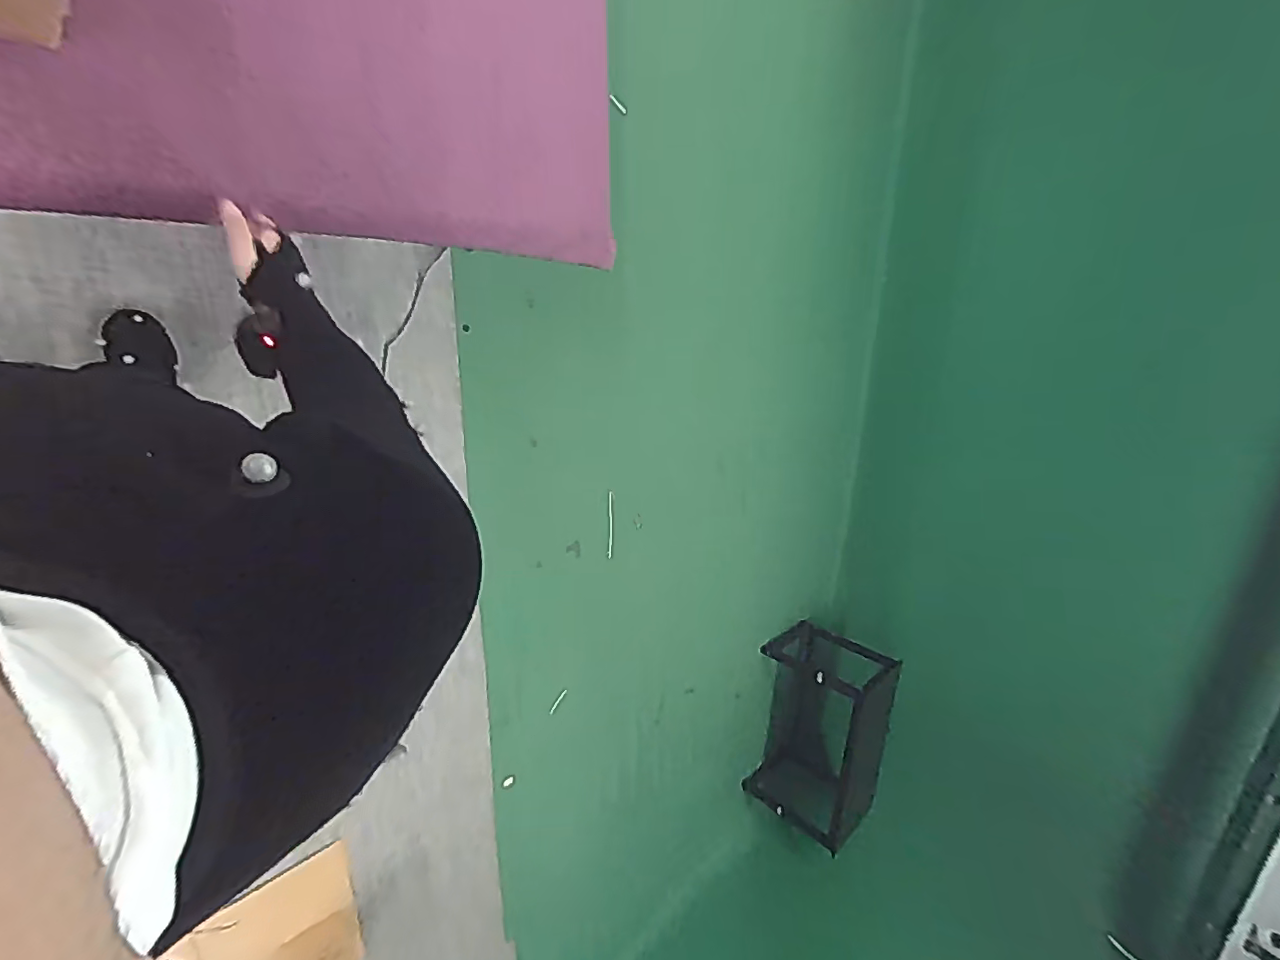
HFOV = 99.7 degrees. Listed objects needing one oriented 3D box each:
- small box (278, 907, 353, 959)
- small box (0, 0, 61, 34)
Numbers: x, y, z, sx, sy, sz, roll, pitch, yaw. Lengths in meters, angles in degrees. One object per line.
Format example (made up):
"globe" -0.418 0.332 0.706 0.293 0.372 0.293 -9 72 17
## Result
"small box" -1.058 1.564 1.766 0.179 0.176 0.168 -9 110 -43
"small box" -0.626 -0.506 0.444 0.179 0.176 0.168 -18 117 -40
